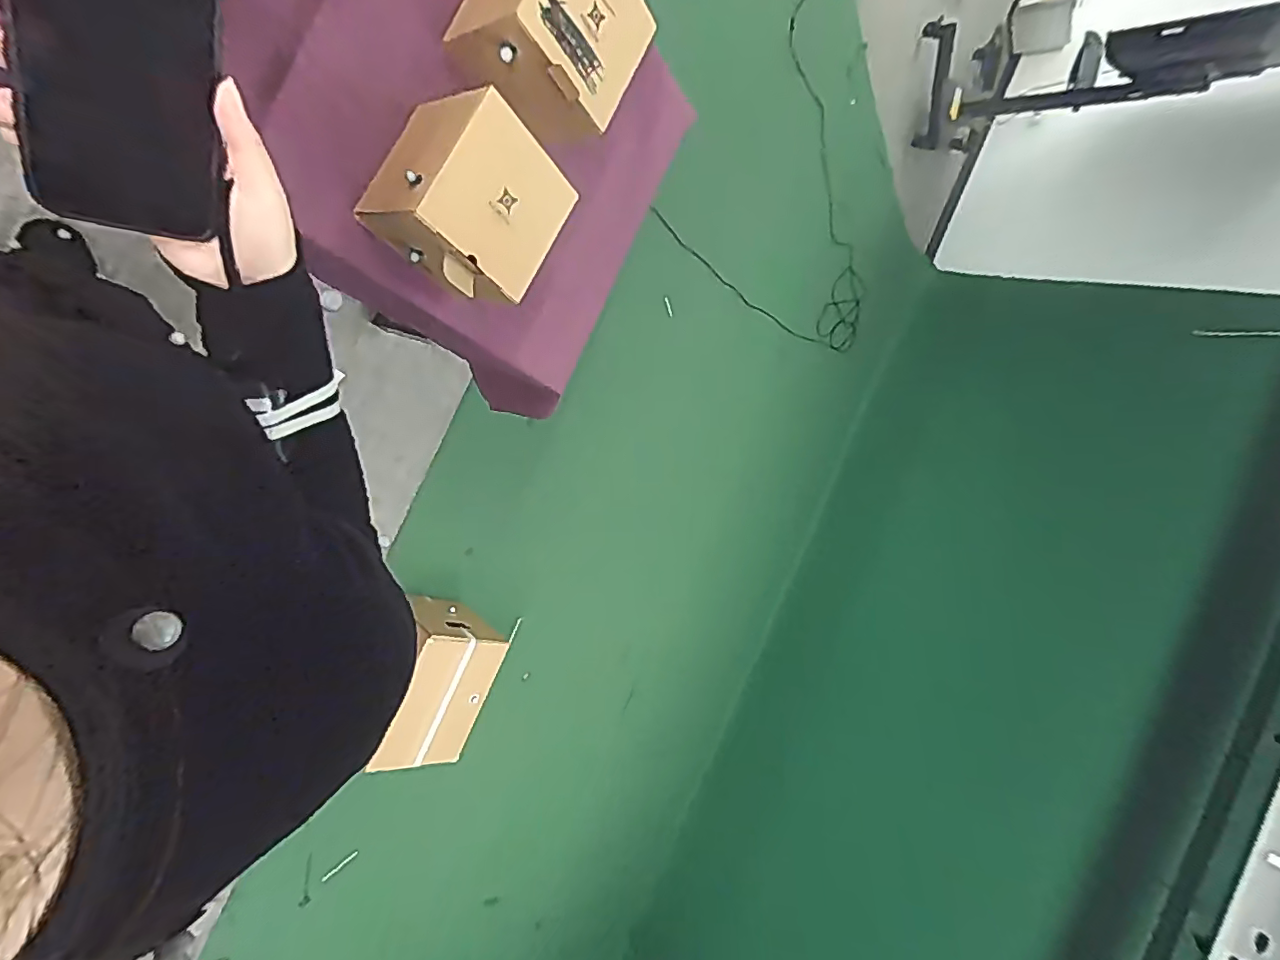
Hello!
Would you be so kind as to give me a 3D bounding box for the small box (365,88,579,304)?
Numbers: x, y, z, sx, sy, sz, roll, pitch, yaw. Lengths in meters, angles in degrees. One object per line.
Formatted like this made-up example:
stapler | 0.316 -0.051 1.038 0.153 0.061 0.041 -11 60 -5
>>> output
small box | -0.219 -0.359 0.702 0.168 0.176 0.179 35 81 -51
